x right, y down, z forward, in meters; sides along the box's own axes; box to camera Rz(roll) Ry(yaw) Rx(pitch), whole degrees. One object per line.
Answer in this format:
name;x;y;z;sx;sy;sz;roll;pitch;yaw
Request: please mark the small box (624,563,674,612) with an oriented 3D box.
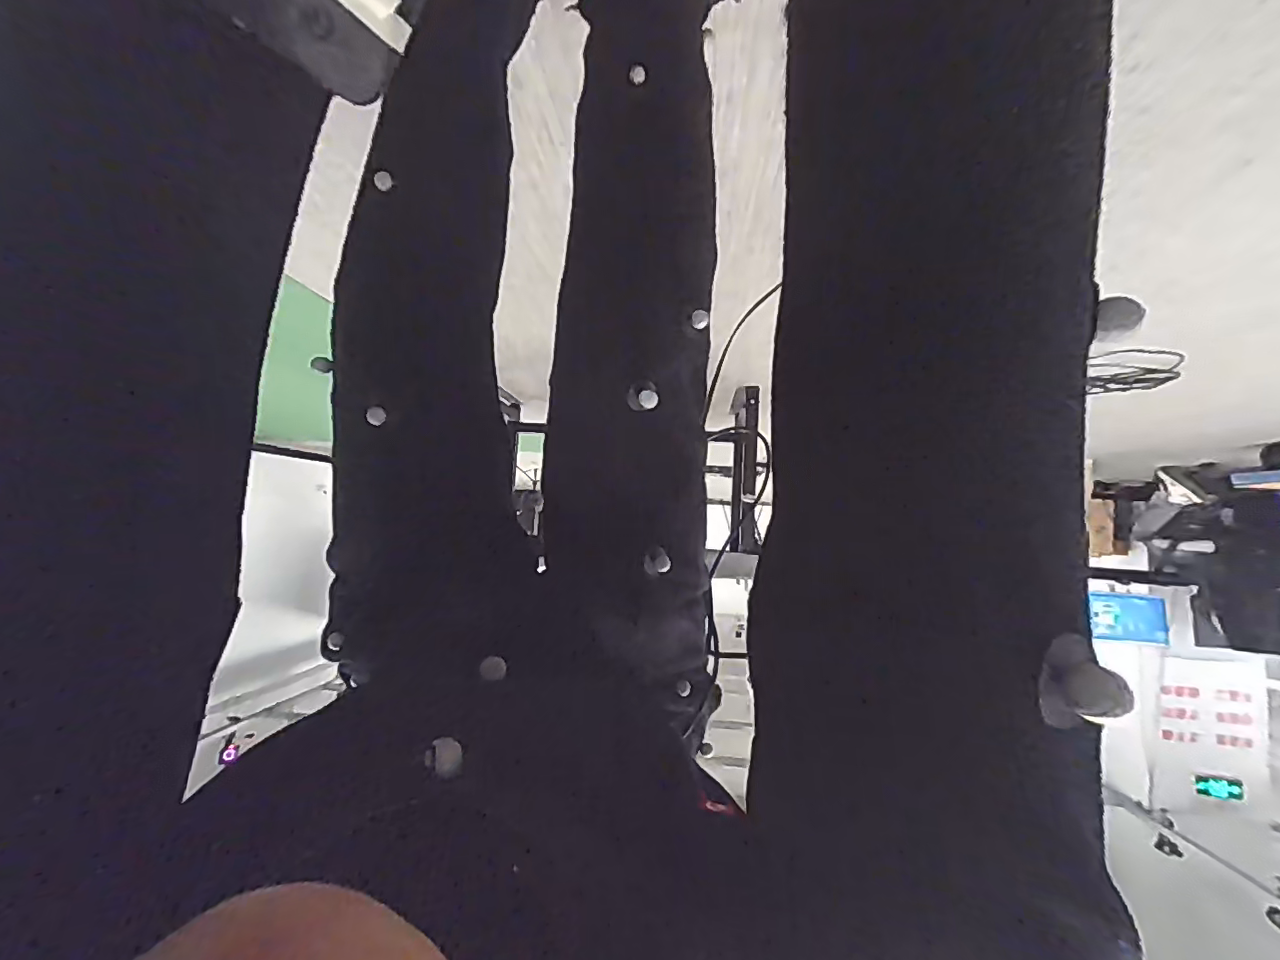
small box;0.040;0.428;2.189;0.168;0.176;0.179;2;175;15
